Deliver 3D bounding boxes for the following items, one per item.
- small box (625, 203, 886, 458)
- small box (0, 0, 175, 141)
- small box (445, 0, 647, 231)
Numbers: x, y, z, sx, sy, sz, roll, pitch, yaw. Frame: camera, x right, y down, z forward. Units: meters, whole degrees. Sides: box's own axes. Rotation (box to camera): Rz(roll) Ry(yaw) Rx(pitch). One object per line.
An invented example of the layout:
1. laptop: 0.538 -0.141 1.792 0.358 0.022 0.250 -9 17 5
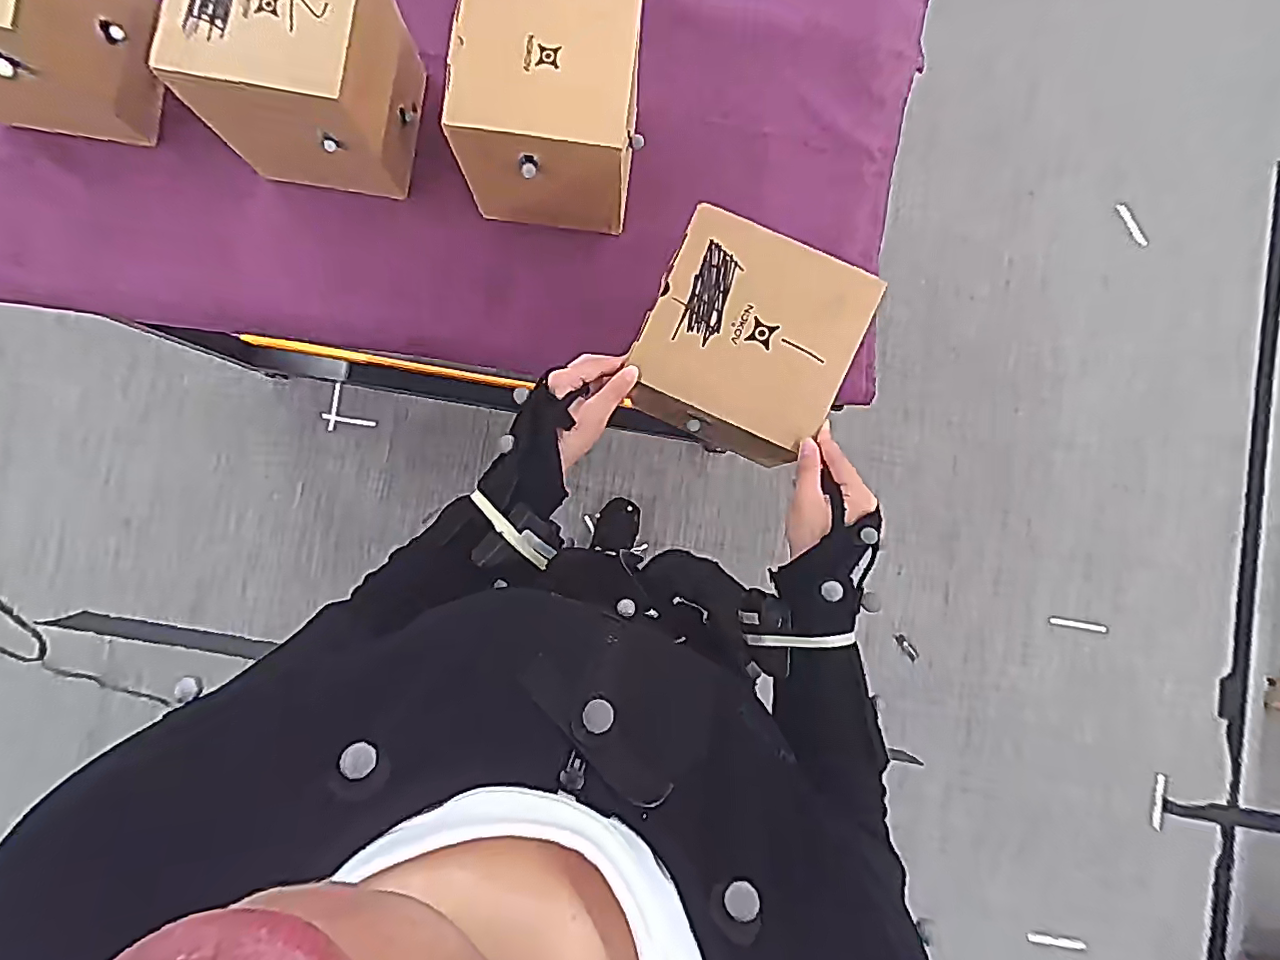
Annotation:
1. small box: 0.101 -0.129 0.541 0.179 0.176 0.168 25 89 2
2. small box: -0.652 -0.498 0.574 0.179 0.176 0.168 7 87 -4
3. small box: -0.092 -0.400 0.597 0.179 0.176 0.168 7 87 -1
